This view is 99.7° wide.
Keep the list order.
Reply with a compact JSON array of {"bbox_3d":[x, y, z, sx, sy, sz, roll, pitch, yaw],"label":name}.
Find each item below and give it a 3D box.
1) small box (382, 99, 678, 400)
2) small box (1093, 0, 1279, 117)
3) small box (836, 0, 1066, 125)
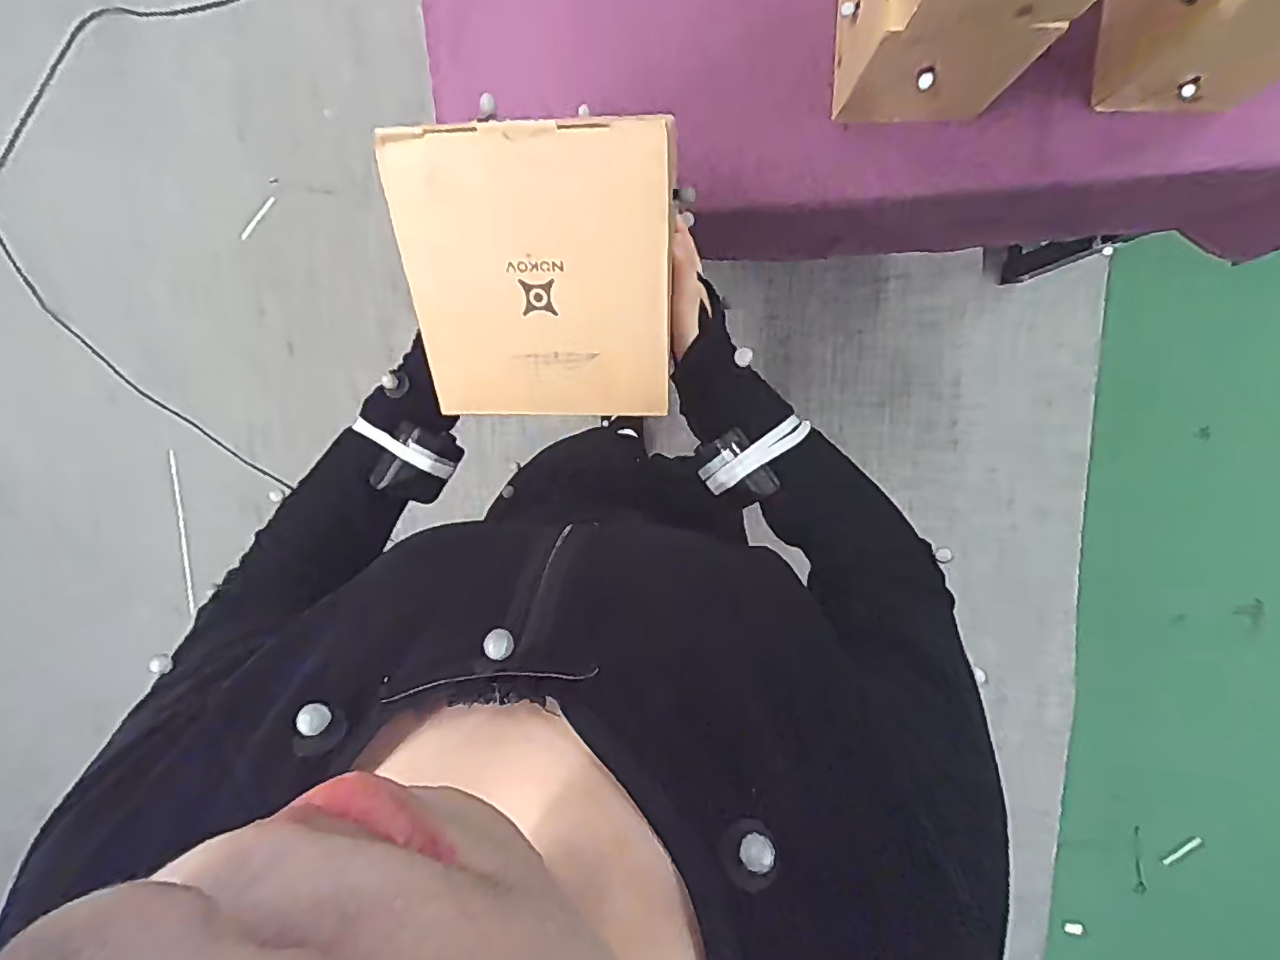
[{"bbox_3d":[-0.057,-0.176,0.406,0.168,0.176,0.179,2,125,4],"label":"small box"},{"bbox_3d":[0.640,-0.532,0.582,0.168,0.176,0.179,2,97,3],"label":"small box"},{"bbox_3d":[0.329,-0.522,0.597,0.179,0.176,0.168,1,96,3],"label":"small box"}]
